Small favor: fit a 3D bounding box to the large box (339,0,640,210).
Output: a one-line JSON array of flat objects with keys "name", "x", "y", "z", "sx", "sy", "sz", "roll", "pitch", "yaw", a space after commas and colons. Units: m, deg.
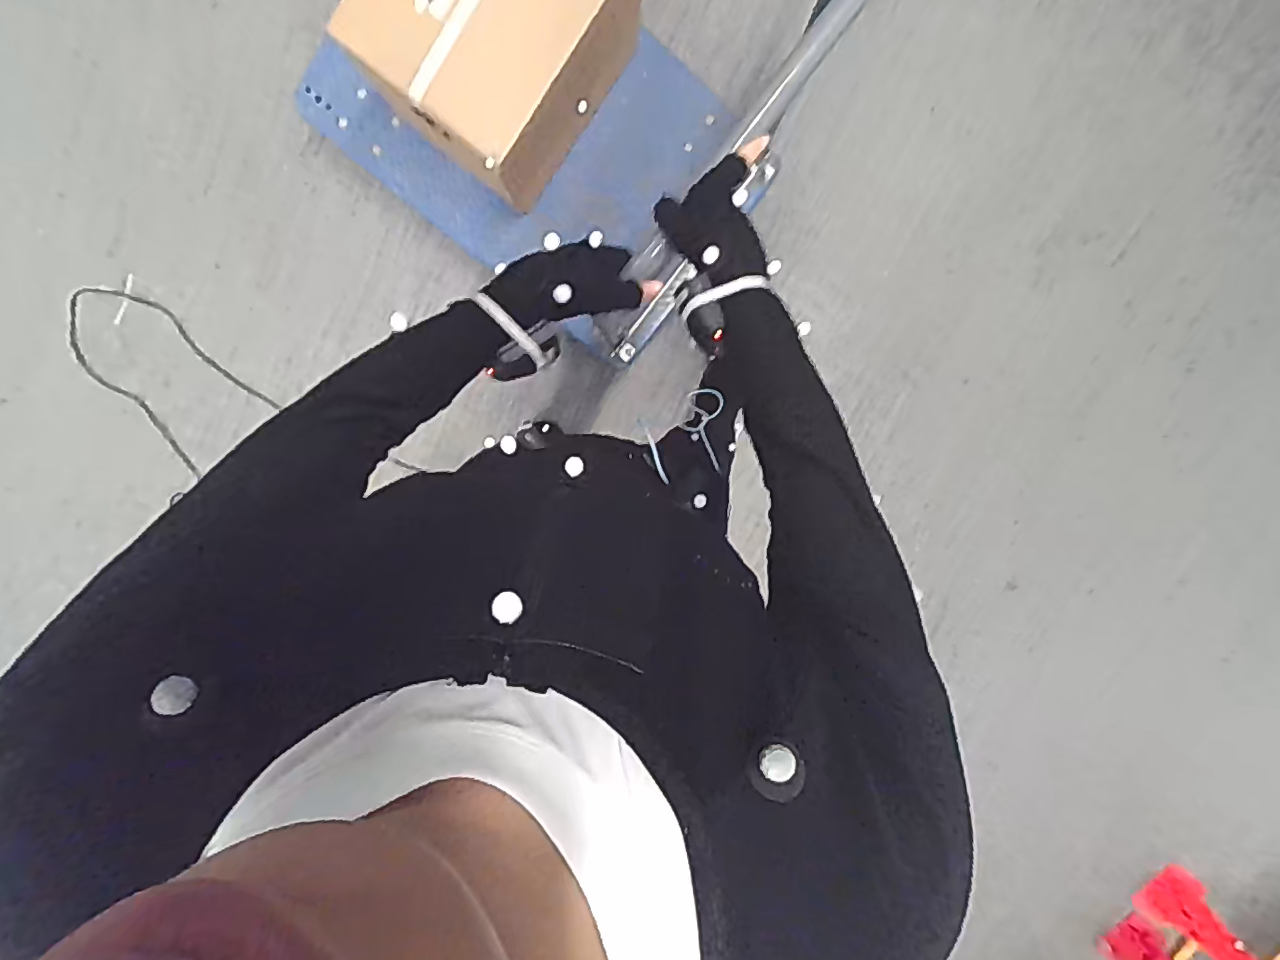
[{"name": "large box", "x": -0.233, "y": -0.785, "z": 0.965, "sx": 0.320, "sy": 0.320, "sz": 0.408, "roll": 36, "pitch": 99, "yaw": -9}]
